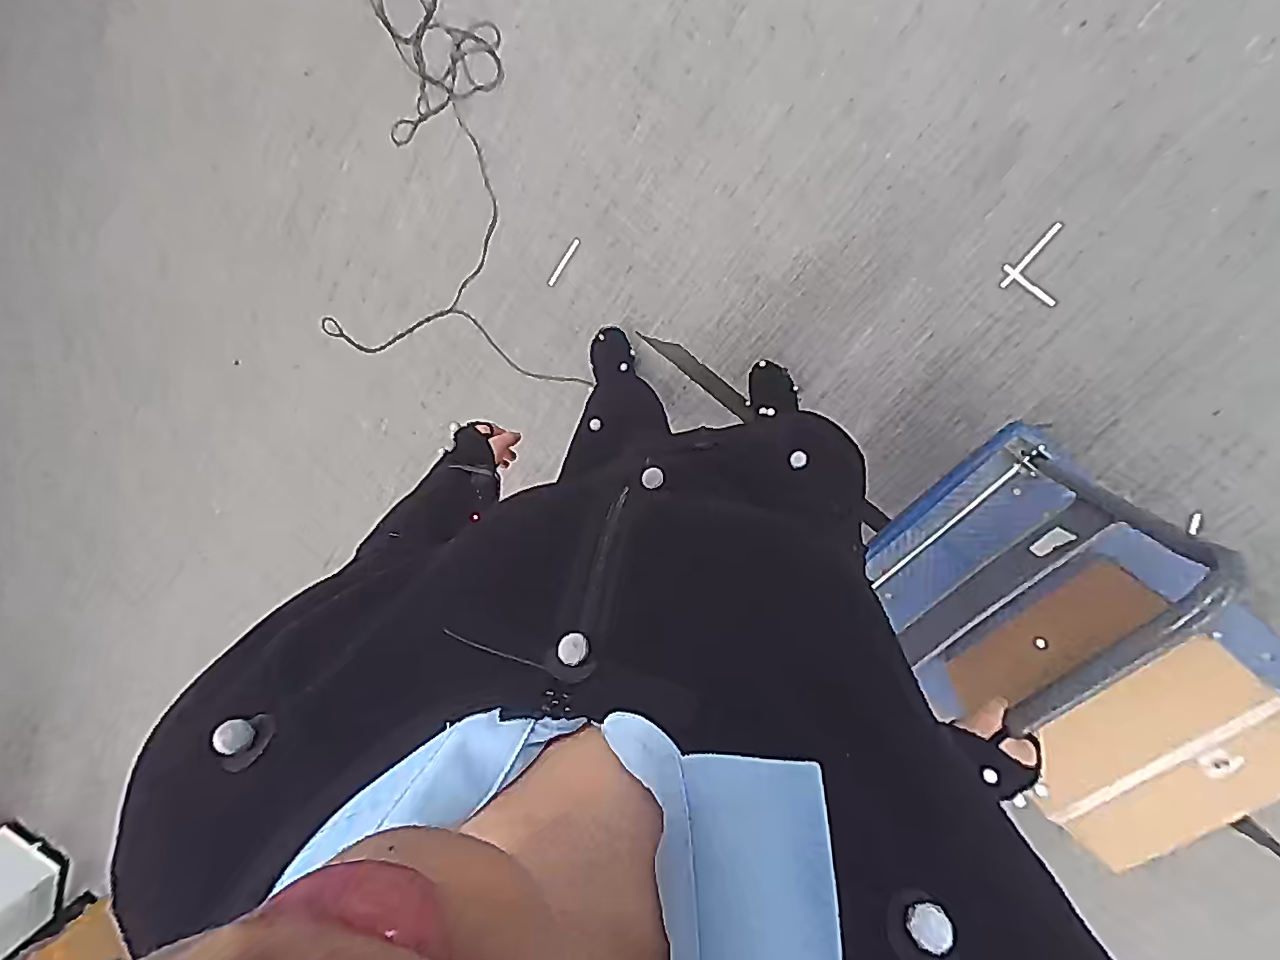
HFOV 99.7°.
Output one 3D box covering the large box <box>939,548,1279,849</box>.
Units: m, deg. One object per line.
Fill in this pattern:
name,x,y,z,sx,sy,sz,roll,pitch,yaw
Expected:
large box,0.905,0.414,1.085,0.320,0.320,0.408,41,110,1
